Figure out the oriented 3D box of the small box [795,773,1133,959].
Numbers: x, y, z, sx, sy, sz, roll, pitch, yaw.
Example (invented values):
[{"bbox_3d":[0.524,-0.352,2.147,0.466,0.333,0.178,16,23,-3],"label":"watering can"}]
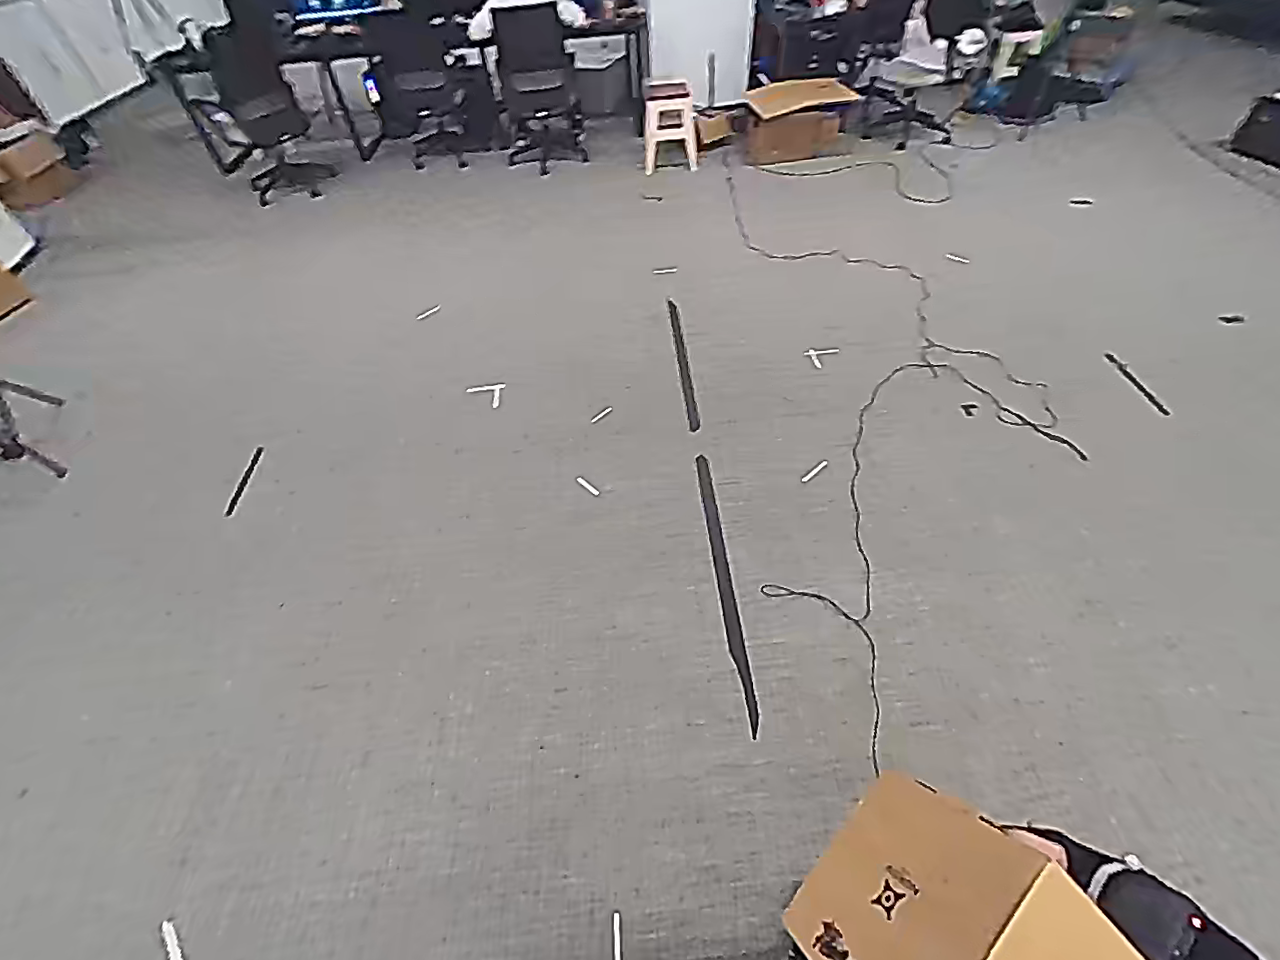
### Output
[{"bbox_3d":[0.274,0.400,0.448,0.179,0.168,0.176,-43,93,-14],"label":"small box"}]
